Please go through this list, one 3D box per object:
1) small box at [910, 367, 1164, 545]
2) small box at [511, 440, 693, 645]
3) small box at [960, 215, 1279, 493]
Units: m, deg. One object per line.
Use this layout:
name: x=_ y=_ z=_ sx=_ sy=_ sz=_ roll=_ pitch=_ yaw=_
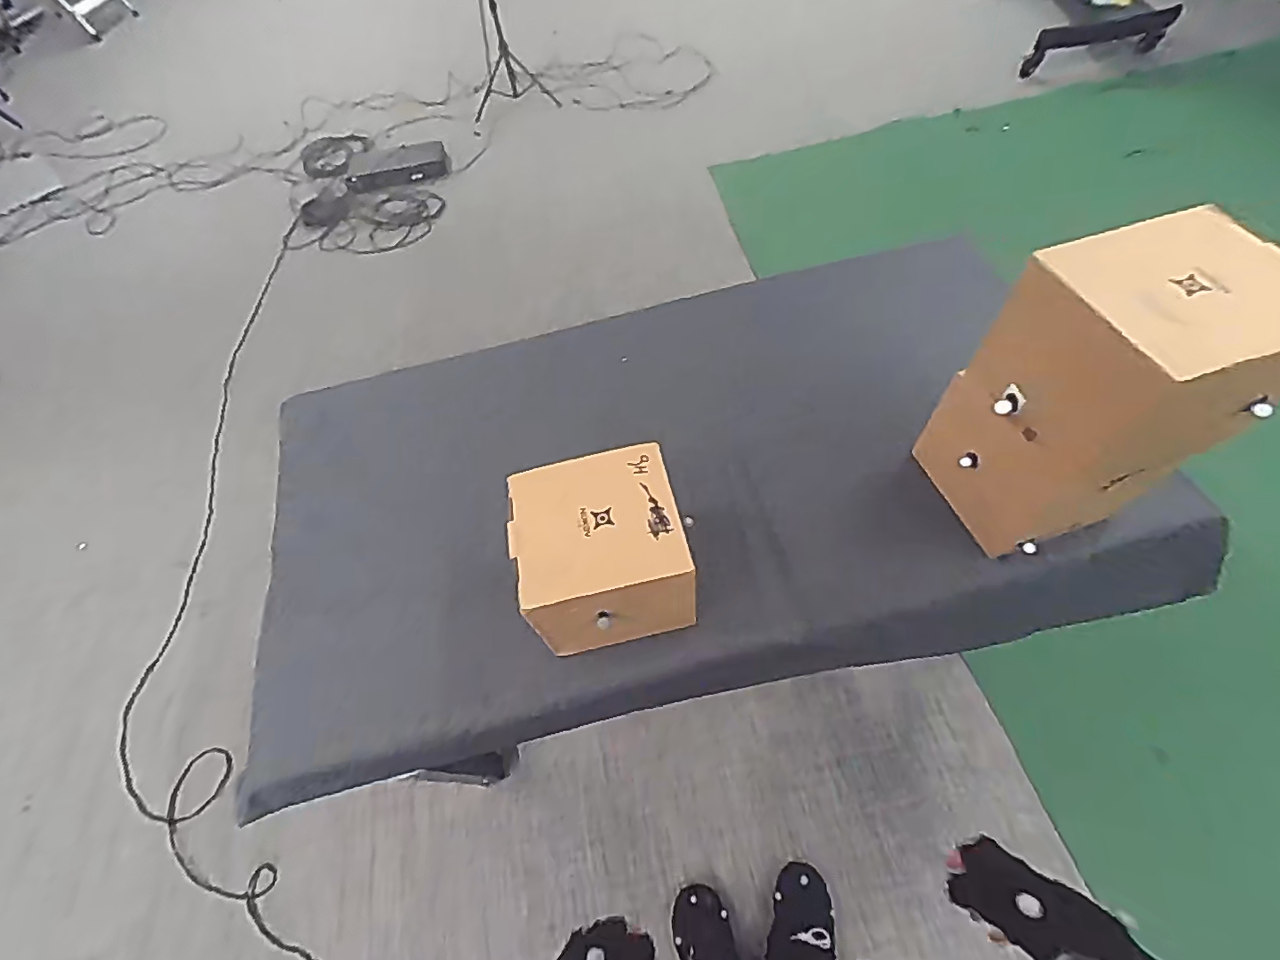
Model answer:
small box: x=0.471 y=-0.038 z=0.661 sx=0.168 sy=0.176 sz=0.179 roll=-18 pitch=58 yaw=-4
small box: x=-0.041 y=0.082 z=0.646 sx=0.179 sy=0.176 sz=0.168 roll=-13 pitch=57 yaw=-1
small box: x=0.456 y=-0.113 z=0.519 sx=0.179 sy=0.176 sz=0.168 roll=-17 pitch=57 yaw=-2
